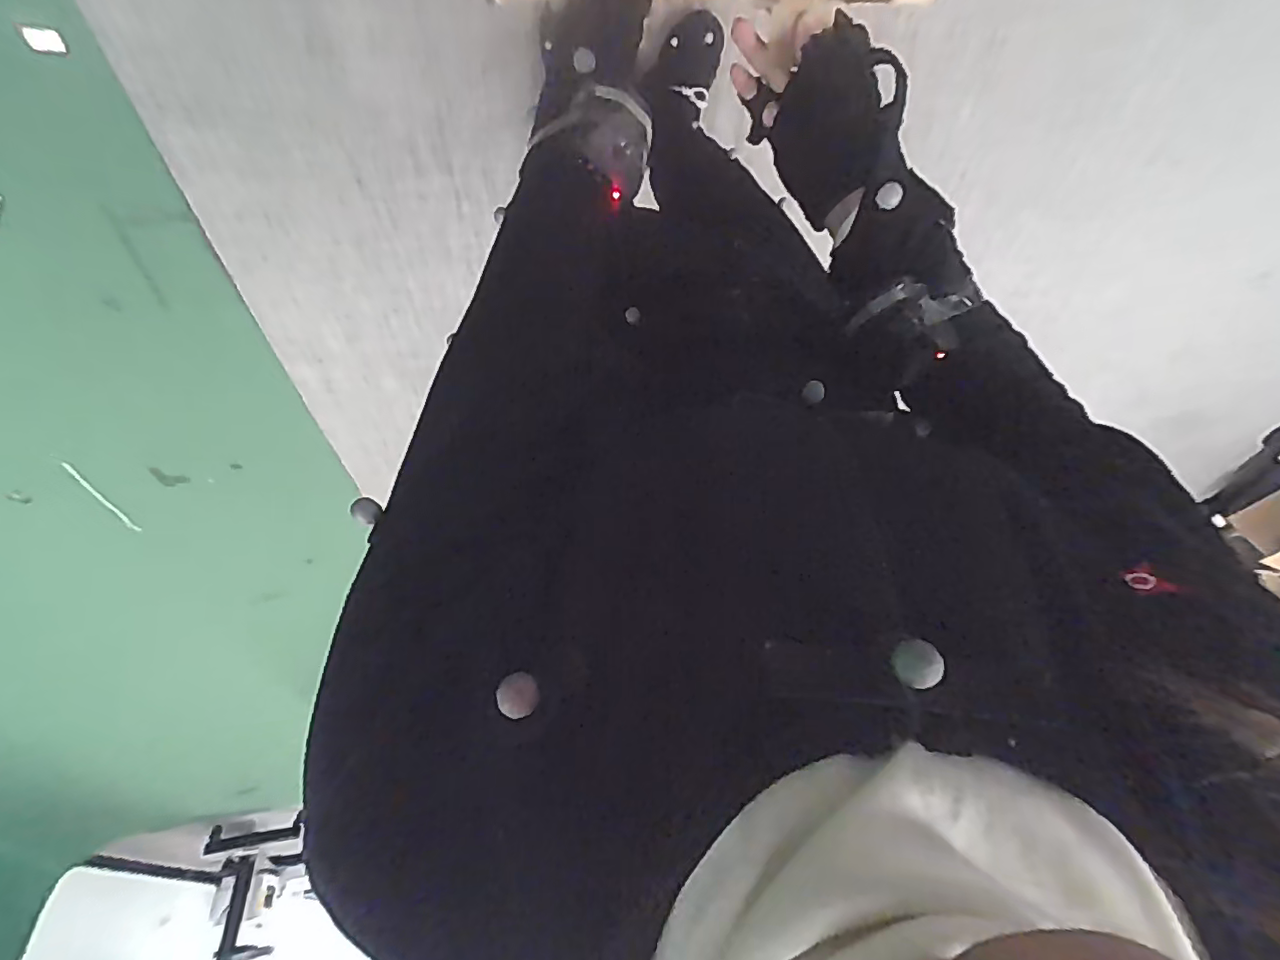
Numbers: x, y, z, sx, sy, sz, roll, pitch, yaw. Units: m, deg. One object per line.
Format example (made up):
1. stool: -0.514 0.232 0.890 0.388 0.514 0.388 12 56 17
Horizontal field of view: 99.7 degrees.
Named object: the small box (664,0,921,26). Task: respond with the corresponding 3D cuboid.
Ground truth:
1. small box: 0.091 -0.409 0.328 0.168 0.176 0.179 -7 141 -9
